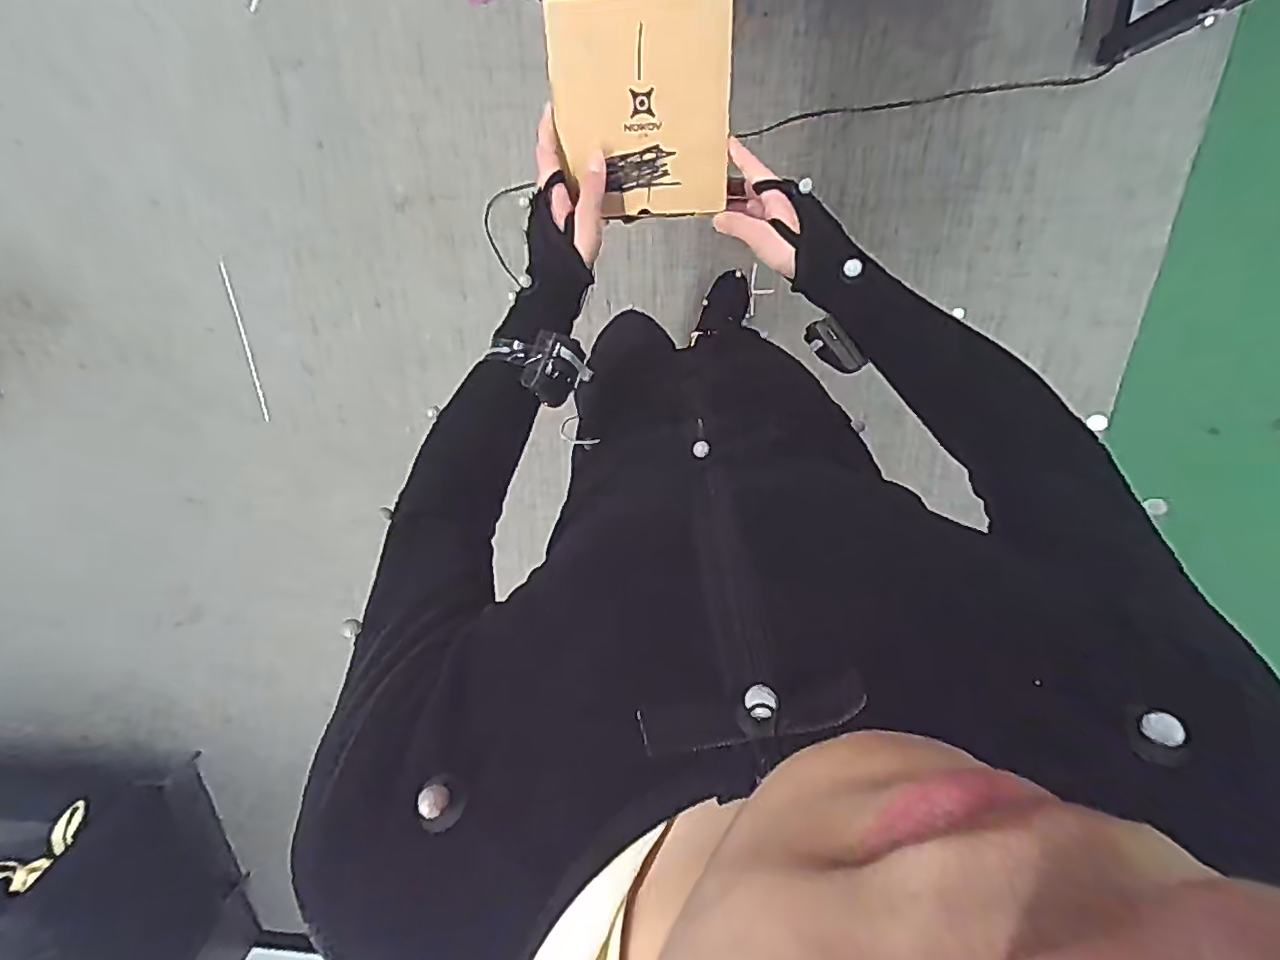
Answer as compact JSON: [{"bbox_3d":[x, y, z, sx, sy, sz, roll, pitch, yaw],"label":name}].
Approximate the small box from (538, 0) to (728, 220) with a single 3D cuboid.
[{"bbox_3d":[-0.001,-0.378,0.566,0.168,0.176,0.179,-2,119,2],"label":"small box"}]
